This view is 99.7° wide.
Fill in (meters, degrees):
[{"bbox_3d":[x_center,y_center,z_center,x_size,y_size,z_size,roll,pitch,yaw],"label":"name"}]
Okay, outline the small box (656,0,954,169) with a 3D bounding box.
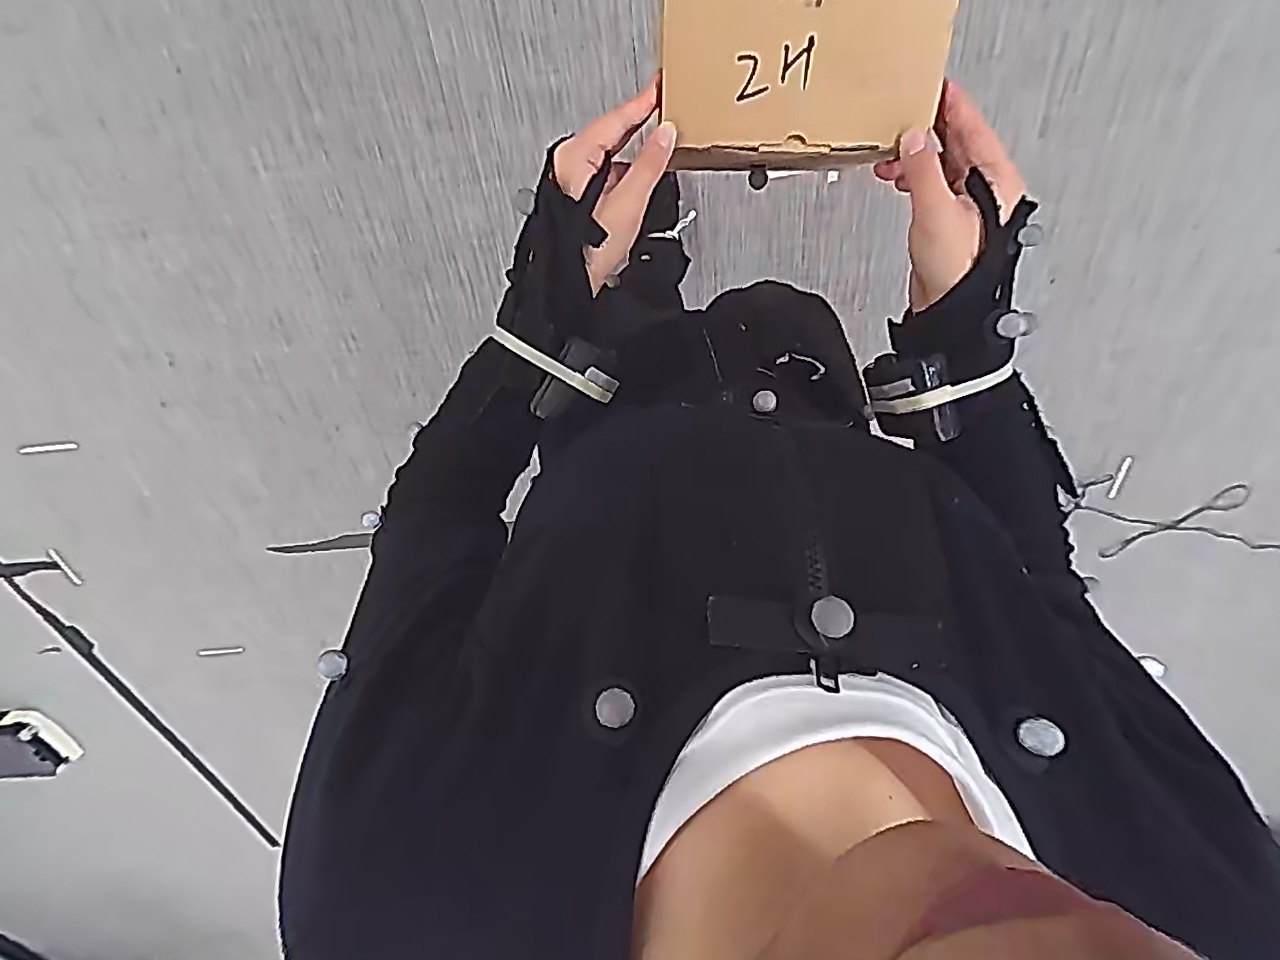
[{"bbox_3d":[0.097,-0.323,0.371,0.168,0.176,0.179,1,116,1],"label":"small box"}]
